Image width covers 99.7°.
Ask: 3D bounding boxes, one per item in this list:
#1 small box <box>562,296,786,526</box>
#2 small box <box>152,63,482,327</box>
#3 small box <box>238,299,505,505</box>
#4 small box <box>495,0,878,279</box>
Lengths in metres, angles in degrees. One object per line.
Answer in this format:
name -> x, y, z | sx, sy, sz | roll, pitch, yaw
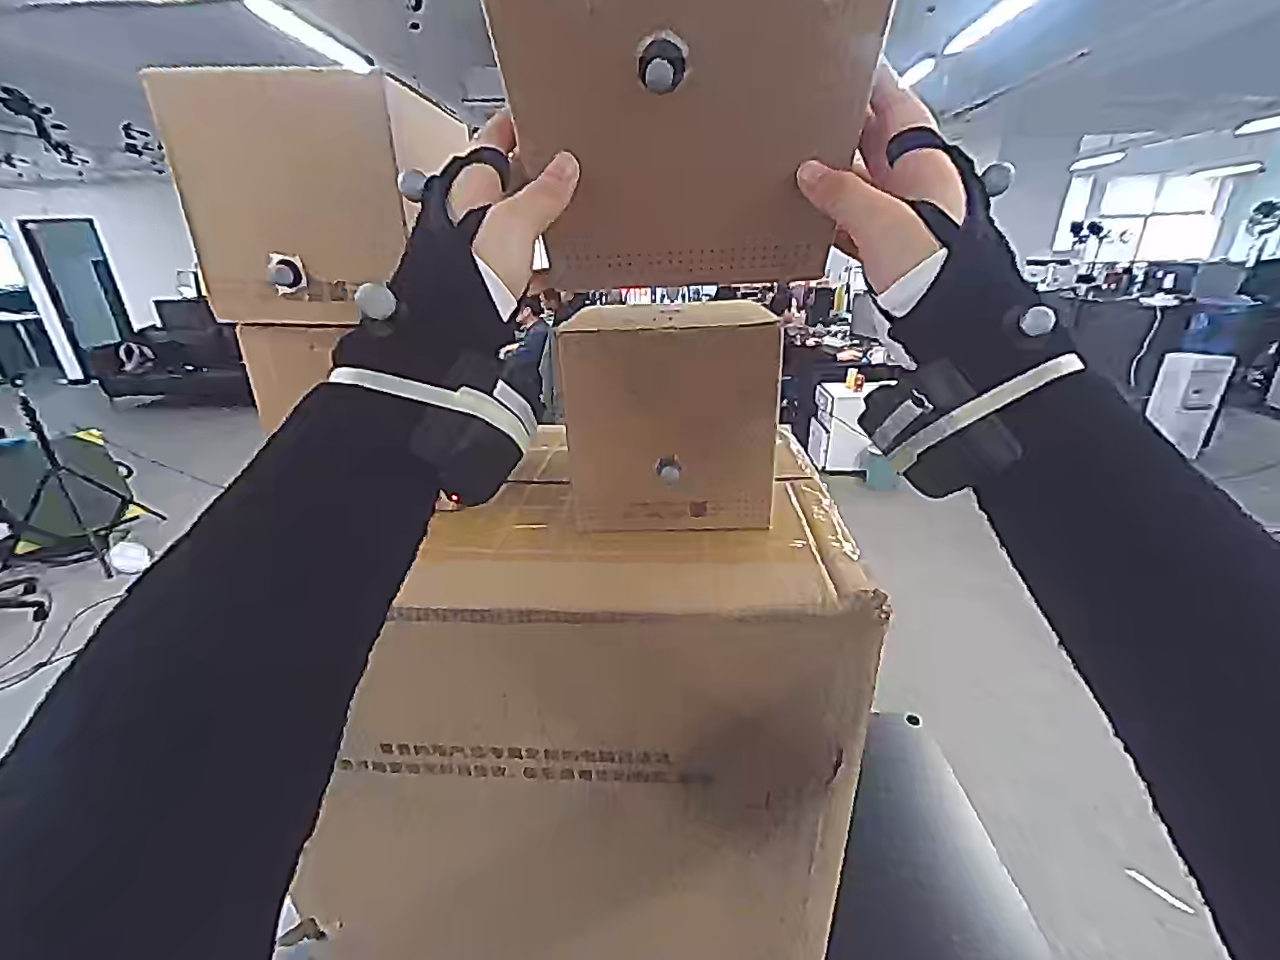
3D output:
small box -> 0.031, -0.071, 0.494 | 0.168, 0.176, 0.179 | -1, 24, 4
small box -> -0.243, -0.229, 0.463 | 0.168, 0.176, 0.179 | -1, 23, 1
small box -> -0.240, -0.084, 0.540 | 0.168, 0.176, 0.179 | 1, 24, 2
small box -> 0.028, -0.239, 0.322 | 0.179, 0.176, 0.168 | -1, 58, 4
